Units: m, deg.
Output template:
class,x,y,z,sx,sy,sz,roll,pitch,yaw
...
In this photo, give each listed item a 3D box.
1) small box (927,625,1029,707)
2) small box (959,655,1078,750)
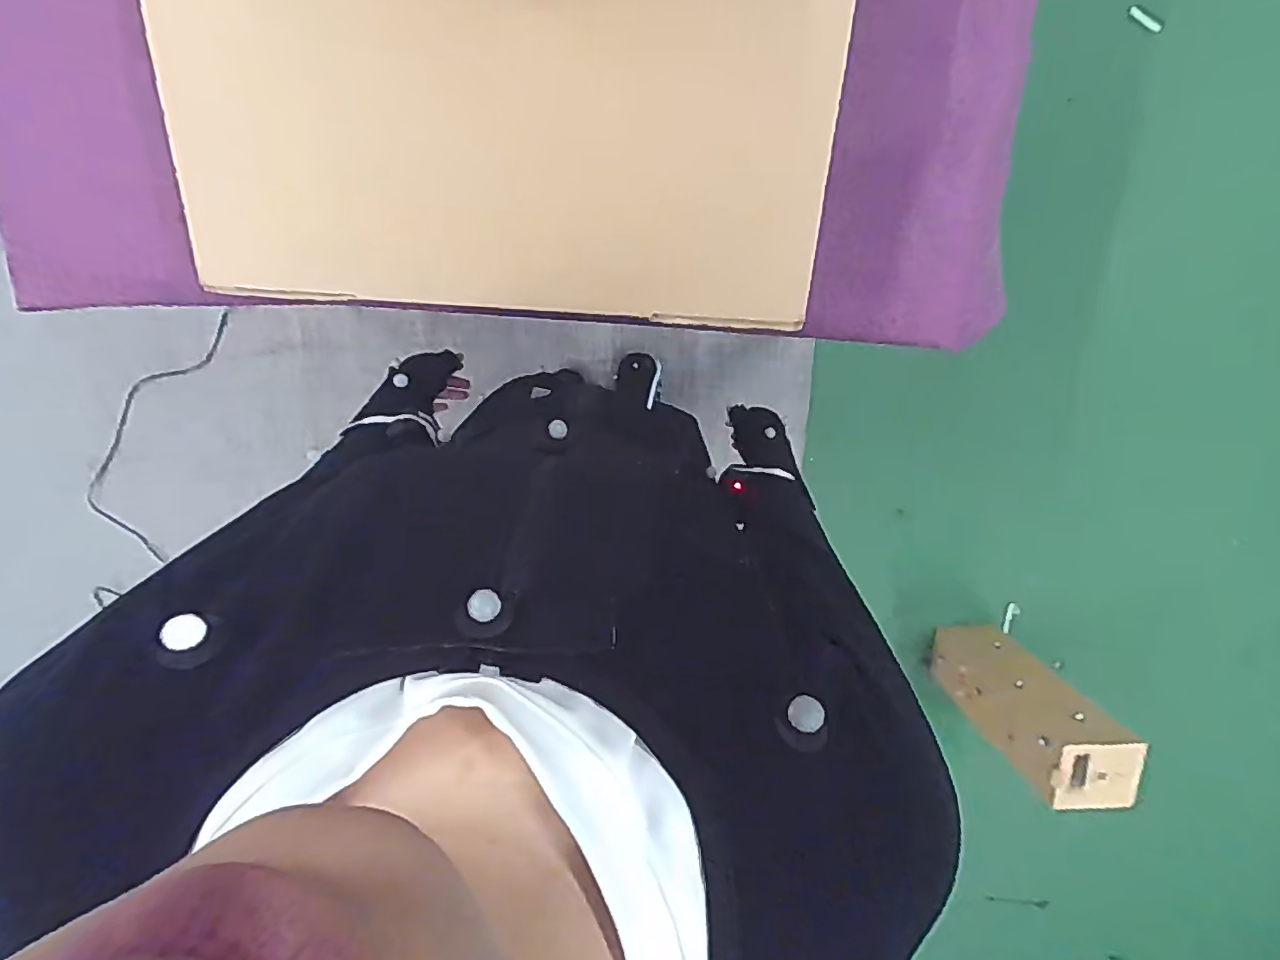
class,x,y,z,sx,sy,sz,roll,pitch,yaw
small box,0.960,0.527,1.546,0.179,0.176,0.168,0,104,0
small box,0.961,0.564,1.388,0.179,0.176,0.168,-2,105,1
